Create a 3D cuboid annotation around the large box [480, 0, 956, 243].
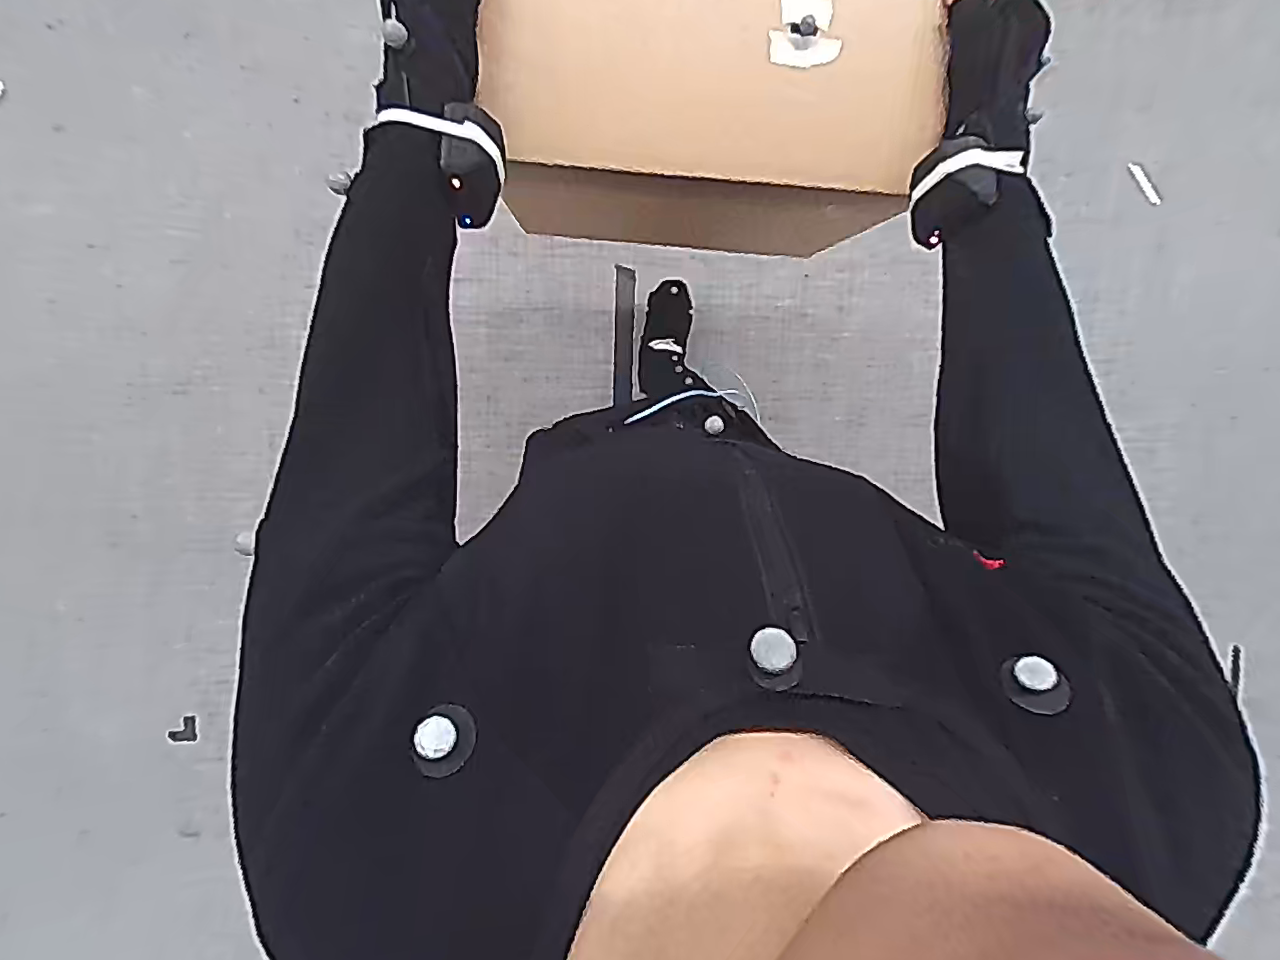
[{"bbox_3d":[0.058,-0.457,0.583,0.408,0.320,0.320,2,104,-5],"label":"large box"}]
